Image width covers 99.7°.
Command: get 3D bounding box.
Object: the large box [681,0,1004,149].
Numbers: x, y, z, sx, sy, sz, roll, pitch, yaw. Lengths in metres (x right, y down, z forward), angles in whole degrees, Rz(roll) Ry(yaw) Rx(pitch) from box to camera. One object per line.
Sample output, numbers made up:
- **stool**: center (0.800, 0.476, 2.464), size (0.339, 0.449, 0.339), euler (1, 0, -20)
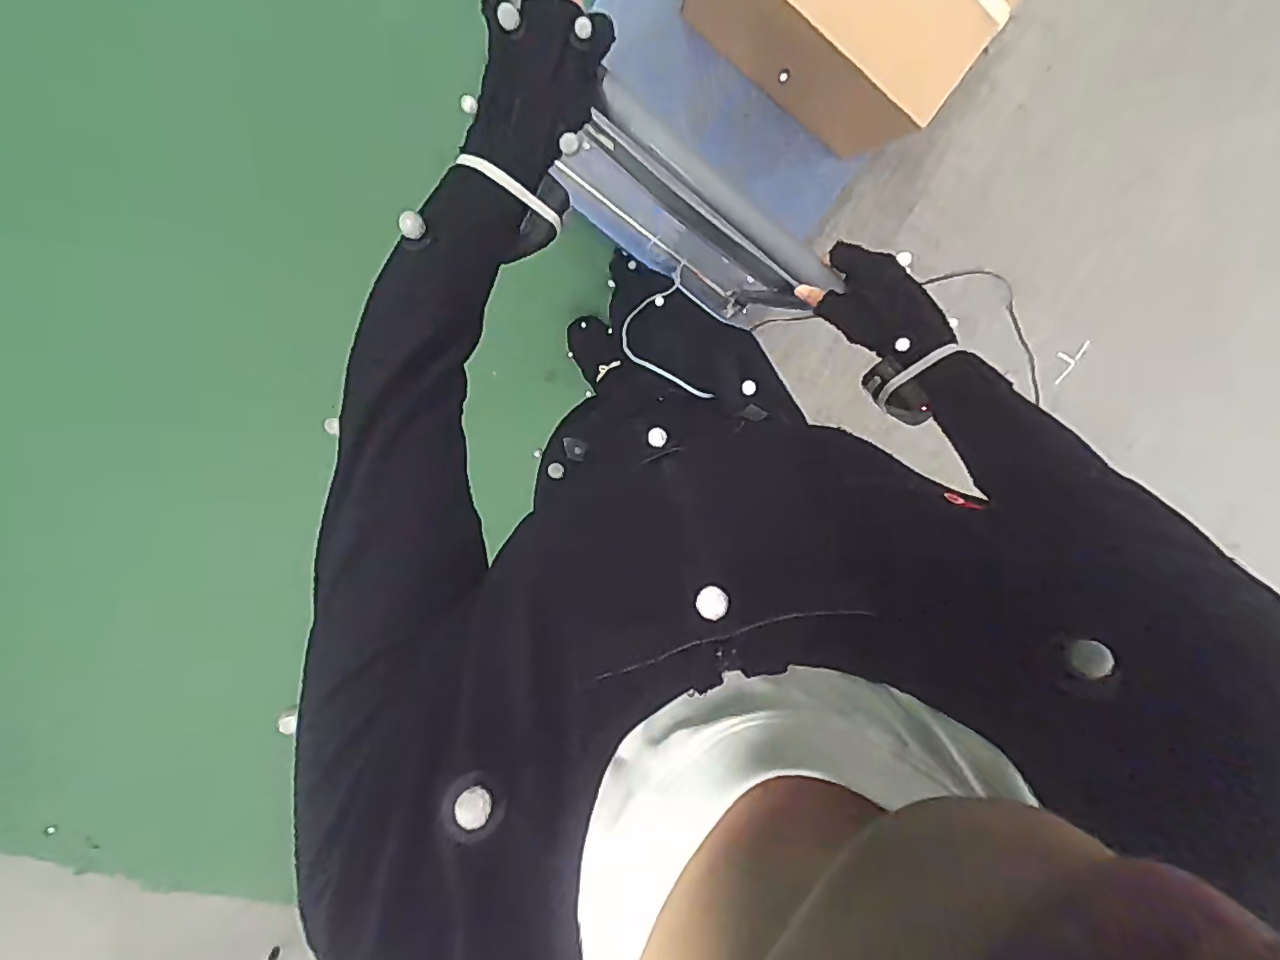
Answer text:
- **large box**: center (0.323, -0.803, 0.842), size (0.408, 0.320, 0.320), euler (31, 108, -15)
